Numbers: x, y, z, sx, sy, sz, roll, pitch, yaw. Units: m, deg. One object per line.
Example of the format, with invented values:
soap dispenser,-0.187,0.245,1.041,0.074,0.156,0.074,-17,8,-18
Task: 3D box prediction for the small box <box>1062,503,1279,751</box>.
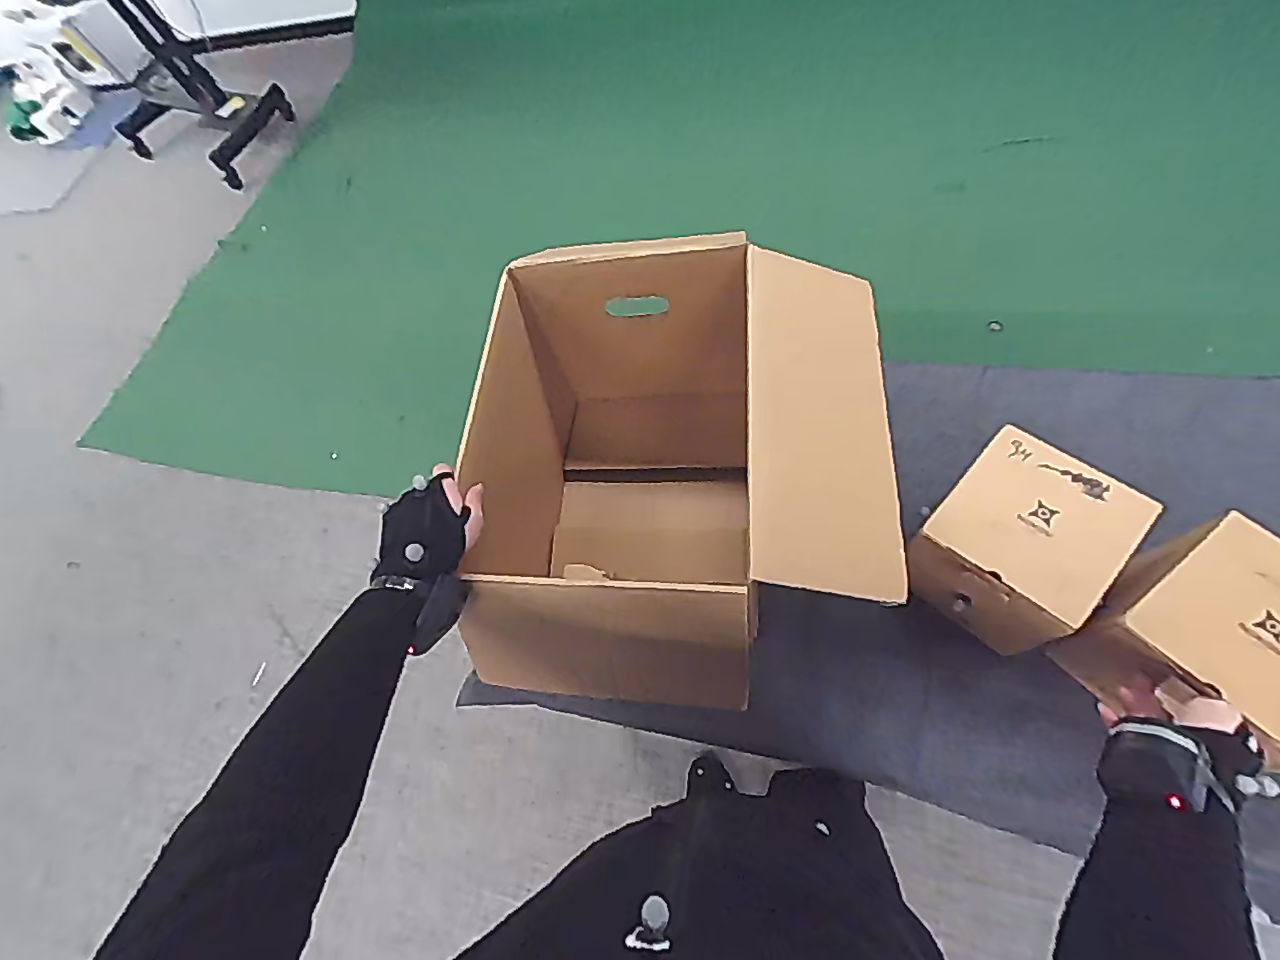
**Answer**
small box,0.597,0.162,0.567,0.179,0.176,0.168,-39,64,-8
